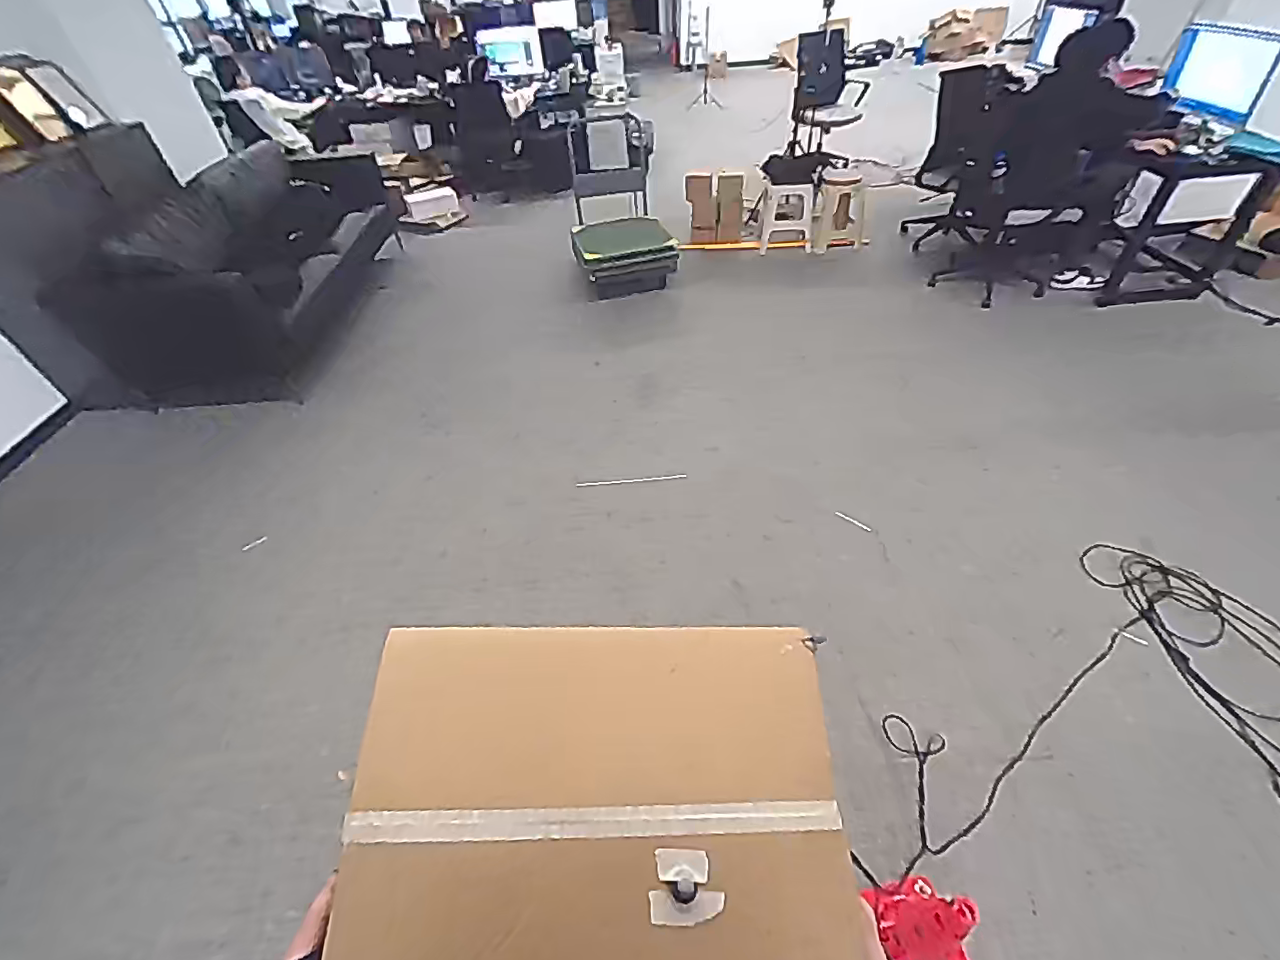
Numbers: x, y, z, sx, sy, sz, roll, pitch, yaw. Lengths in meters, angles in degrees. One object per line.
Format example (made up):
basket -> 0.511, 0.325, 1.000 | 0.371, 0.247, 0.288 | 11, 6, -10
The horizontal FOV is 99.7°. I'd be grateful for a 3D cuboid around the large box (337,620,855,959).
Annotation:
large box -> -0.043, 0.347, 0.592 | 0.408, 0.320, 0.320 | 1, 63, -4
